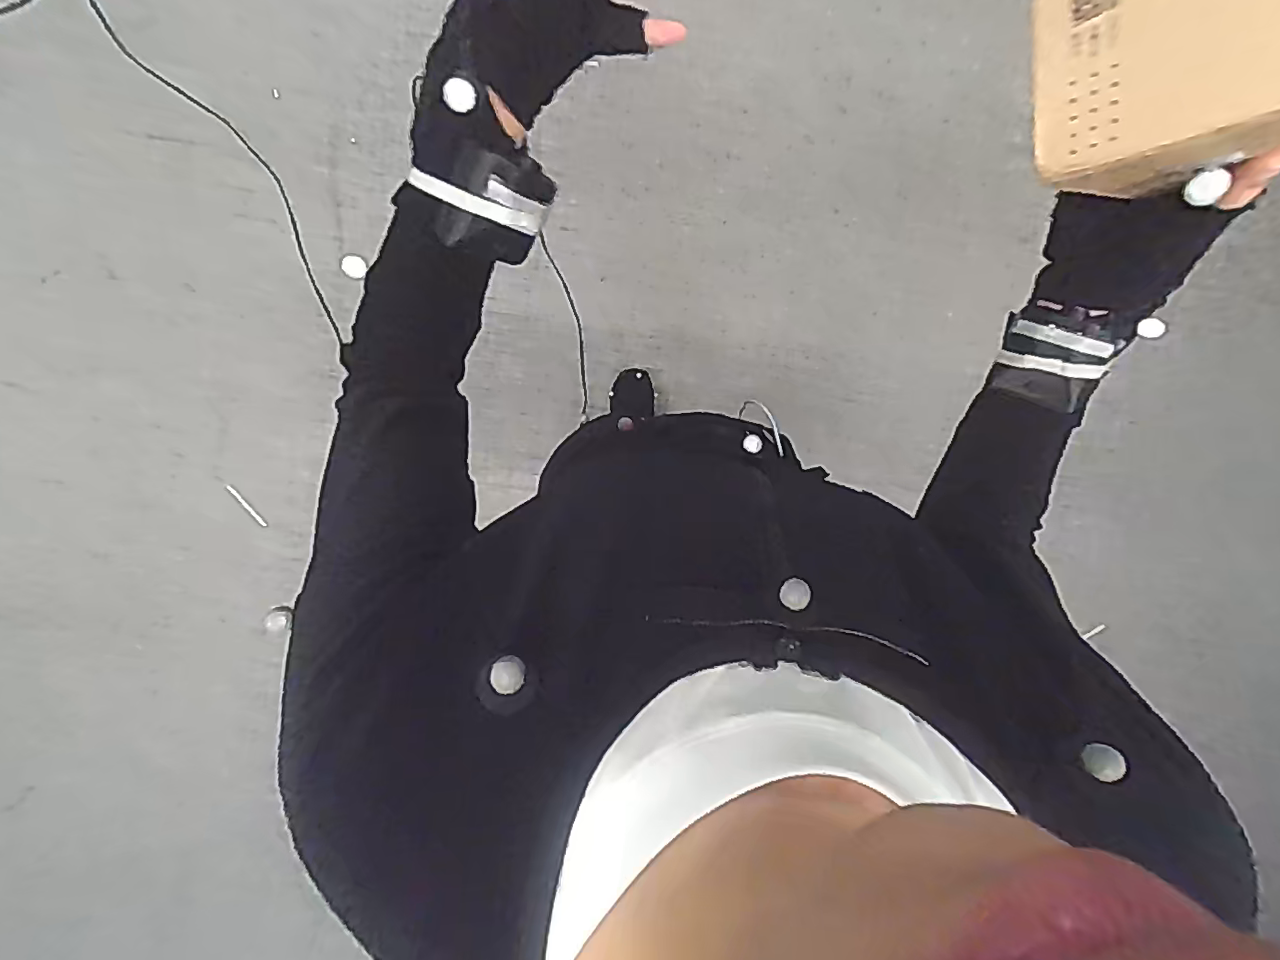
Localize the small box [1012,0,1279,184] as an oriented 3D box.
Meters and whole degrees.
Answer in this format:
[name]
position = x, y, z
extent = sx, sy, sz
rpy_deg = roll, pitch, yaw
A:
[small box]
position = 0.263, -0.226, 0.197
extent = 0.179, 0.176, 0.168
rpy_deg = -19, 105, -34
